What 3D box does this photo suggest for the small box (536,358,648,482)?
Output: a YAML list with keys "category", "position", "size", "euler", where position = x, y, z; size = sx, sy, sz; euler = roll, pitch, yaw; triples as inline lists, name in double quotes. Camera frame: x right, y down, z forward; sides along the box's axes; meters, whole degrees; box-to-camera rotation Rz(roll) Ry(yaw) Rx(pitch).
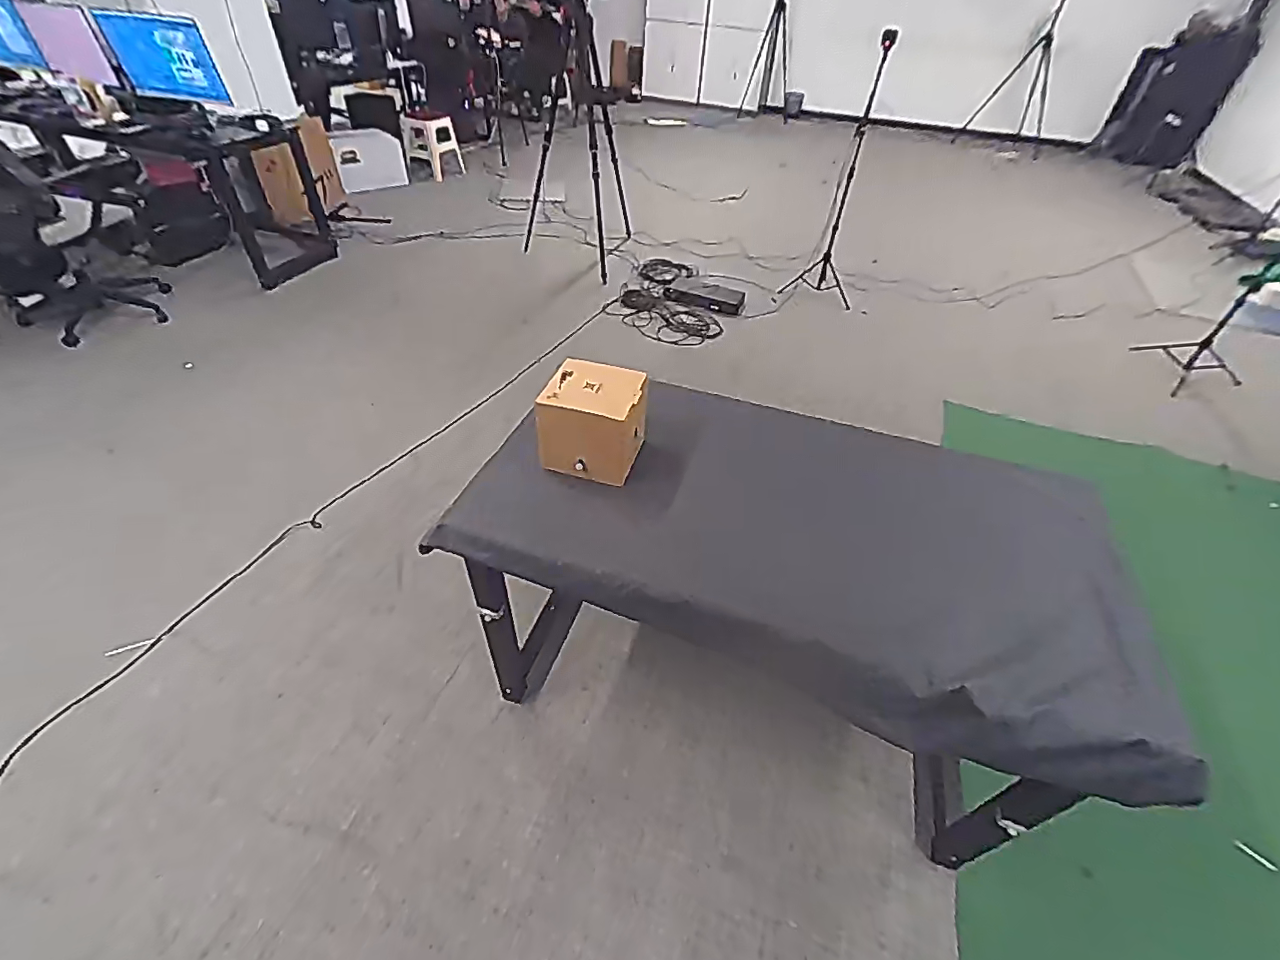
- category: "small box"
  position: [-0.093, -0.118, 1.096]
  size: [0.179, 0.176, 0.168]
  euler: [14, 44, 9]
